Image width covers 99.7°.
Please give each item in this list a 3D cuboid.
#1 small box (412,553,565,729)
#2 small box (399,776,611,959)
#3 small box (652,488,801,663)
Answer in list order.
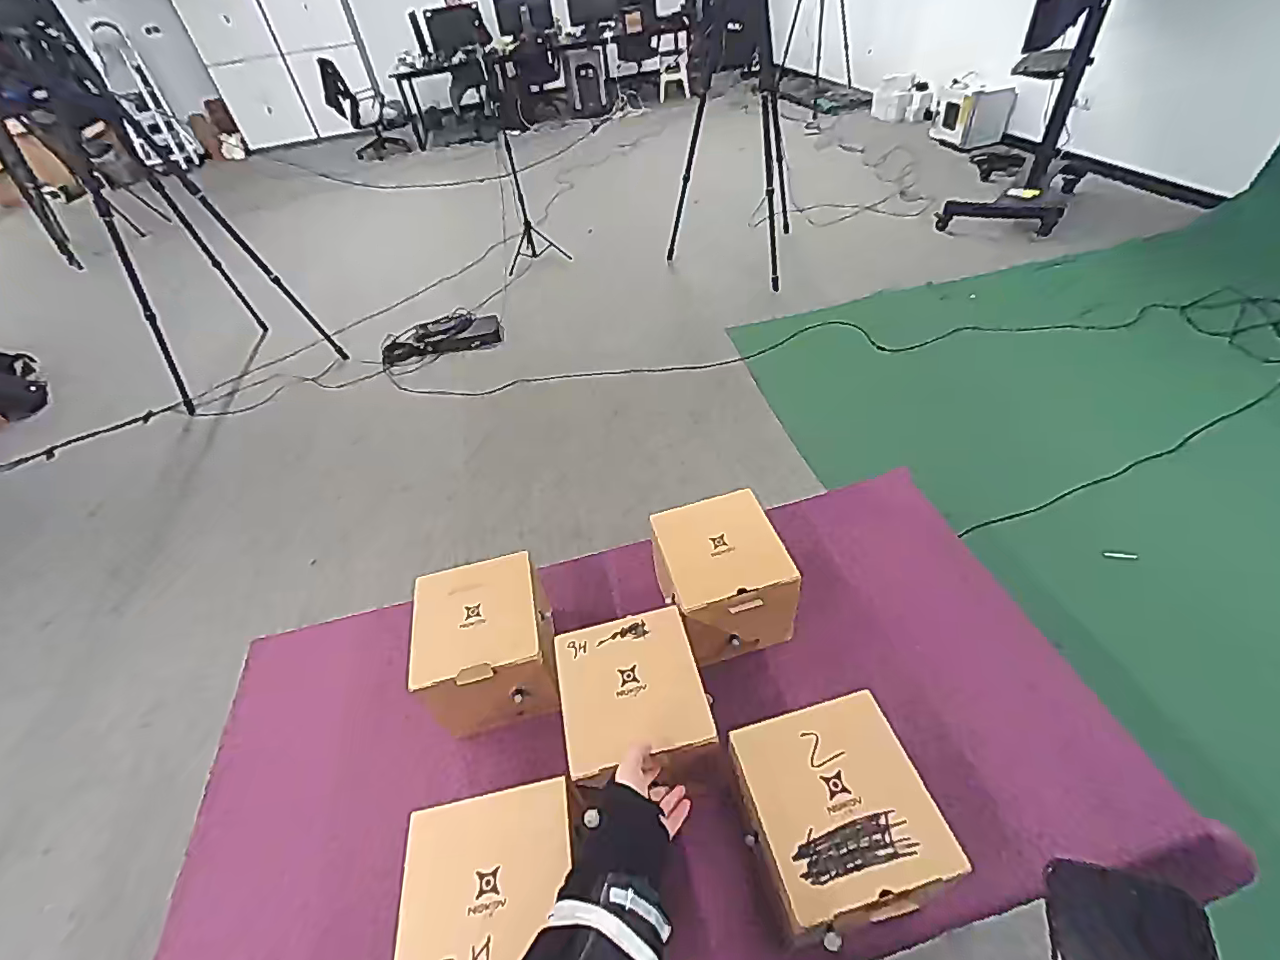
[{"bbox_3d":[-0.212,0.239,0.785,0.168,0.176,0.179,-13,45,-5],"label":"small box"},{"bbox_3d":[-0.130,0.444,0.564,0.168,0.176,0.179,-13,45,-2],"label":"small box"},{"bbox_3d":[0.123,0.145,0.822,0.168,0.176,0.179,-16,46,-6],"label":"small box"}]
